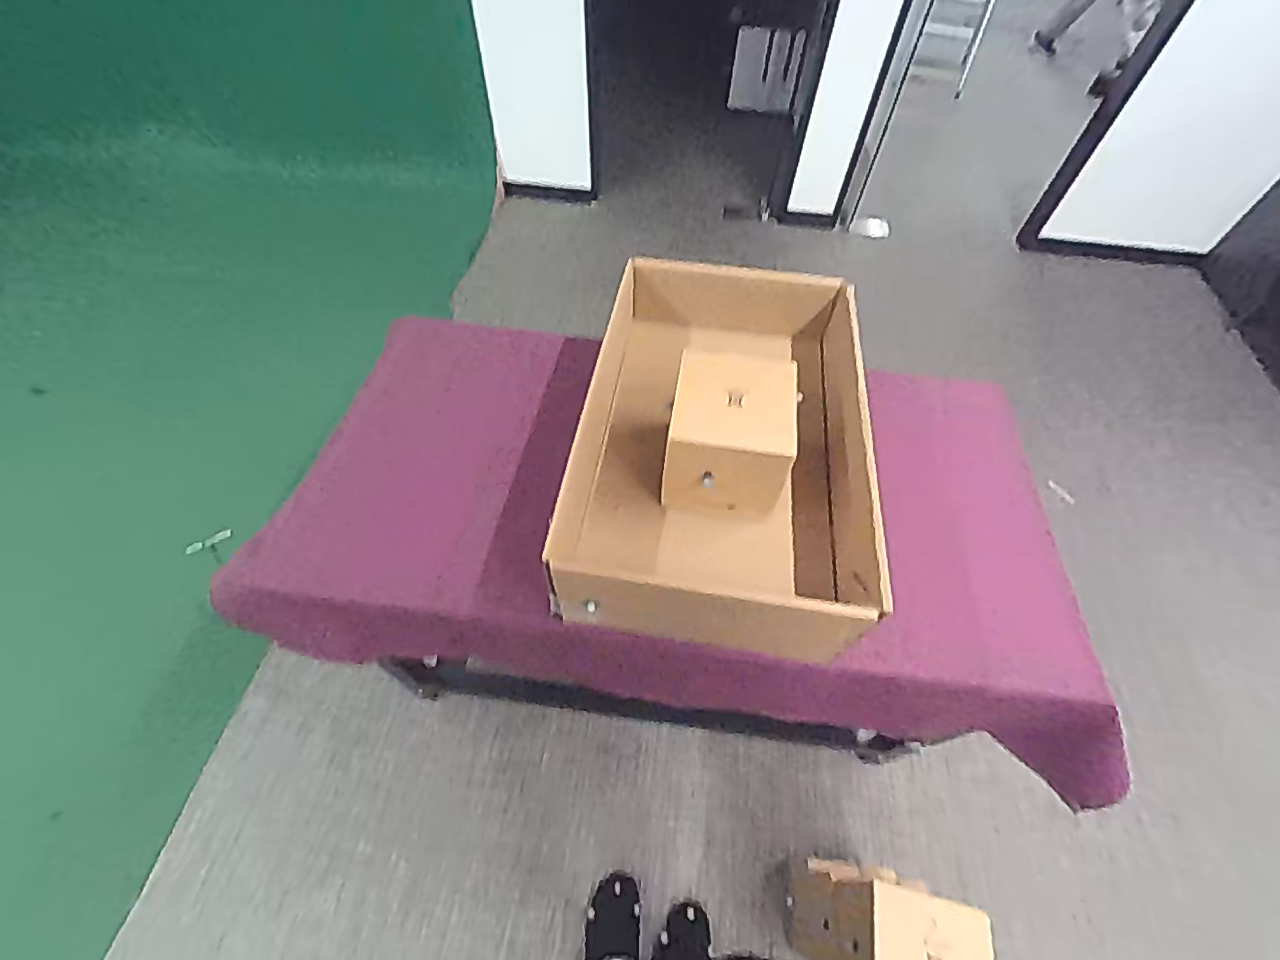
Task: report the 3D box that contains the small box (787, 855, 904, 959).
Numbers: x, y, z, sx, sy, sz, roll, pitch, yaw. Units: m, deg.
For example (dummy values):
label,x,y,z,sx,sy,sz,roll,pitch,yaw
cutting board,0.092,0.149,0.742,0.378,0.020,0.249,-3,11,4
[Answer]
label,x,y,z,sx,sy,sz,roll,pitch,yaw
small box,0.409,0.876,1.105,0.179,0.176,0.168,6,55,3

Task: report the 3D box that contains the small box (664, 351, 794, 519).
label,x,y,z,sx,sy,sz,roll,pitch,yaw
small box,0.127,-0.062,0.799,0.168,0.176,0.179,8,54,5
